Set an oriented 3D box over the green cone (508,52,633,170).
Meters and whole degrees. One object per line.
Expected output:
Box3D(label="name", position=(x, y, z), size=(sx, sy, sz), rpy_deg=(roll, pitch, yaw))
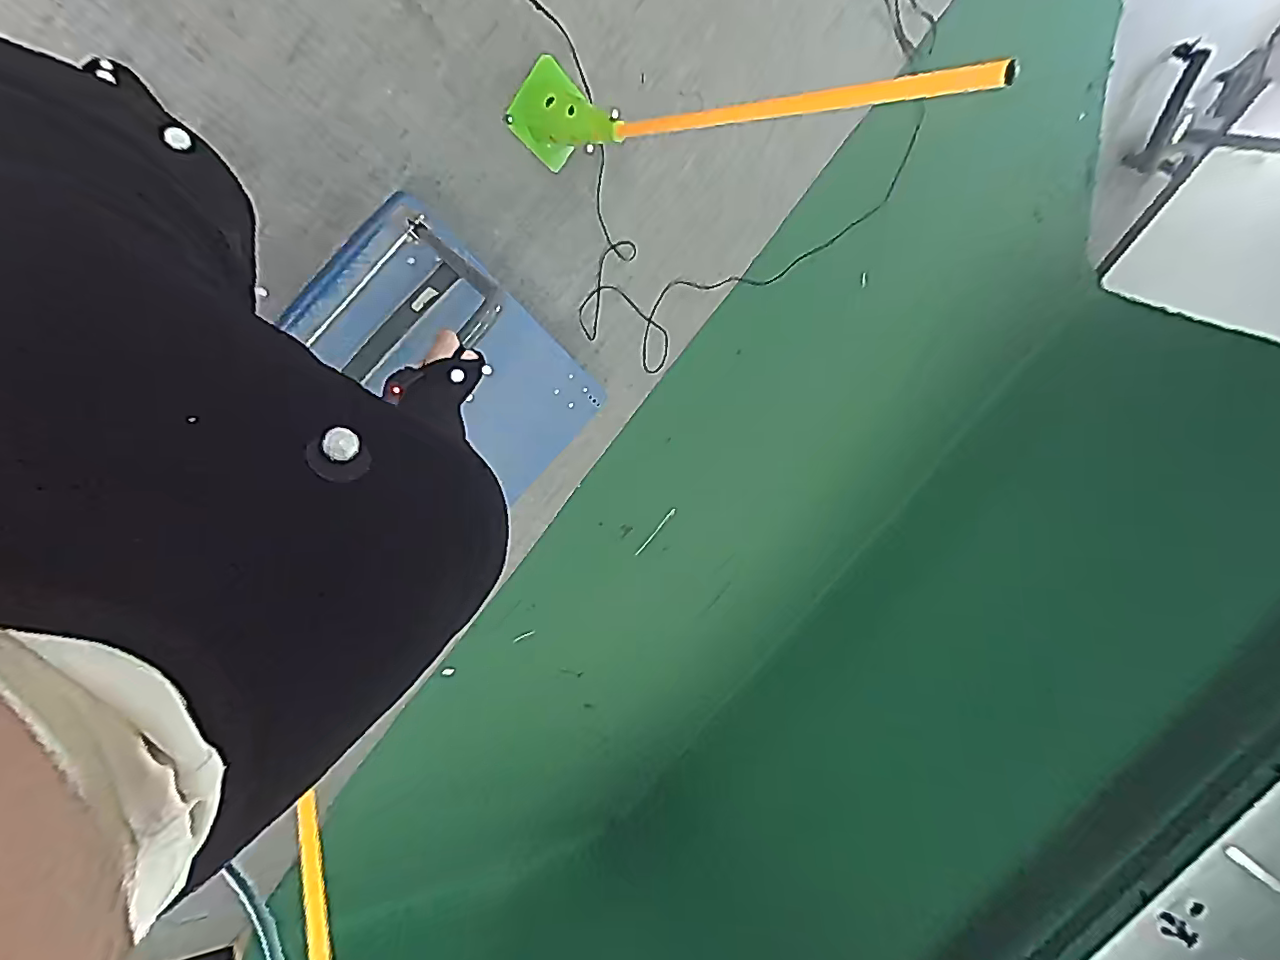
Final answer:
Box3D(label="green cone", position=(-0.133, -0.880, 1.323), size=(0.200, 0.368, 0.202), rpy_deg=(24, 104, -49))
